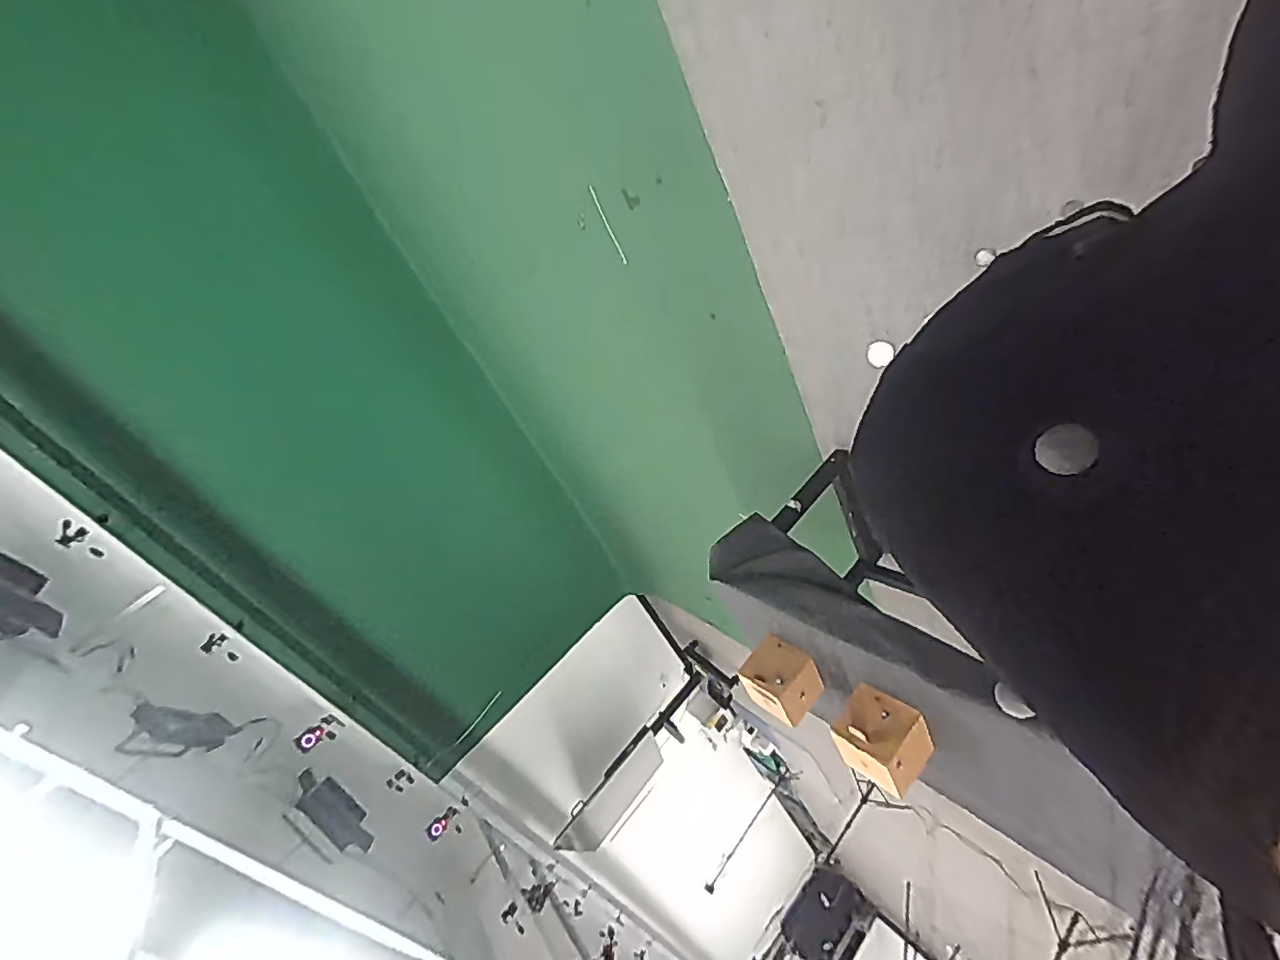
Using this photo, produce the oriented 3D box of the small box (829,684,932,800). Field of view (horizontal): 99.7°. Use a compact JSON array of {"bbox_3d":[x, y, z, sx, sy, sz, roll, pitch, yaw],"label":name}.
[{"bbox_3d":[0.631,0.676,1.409,0.168,0.176,0.179,17,143,54],"label":"small box"}]
